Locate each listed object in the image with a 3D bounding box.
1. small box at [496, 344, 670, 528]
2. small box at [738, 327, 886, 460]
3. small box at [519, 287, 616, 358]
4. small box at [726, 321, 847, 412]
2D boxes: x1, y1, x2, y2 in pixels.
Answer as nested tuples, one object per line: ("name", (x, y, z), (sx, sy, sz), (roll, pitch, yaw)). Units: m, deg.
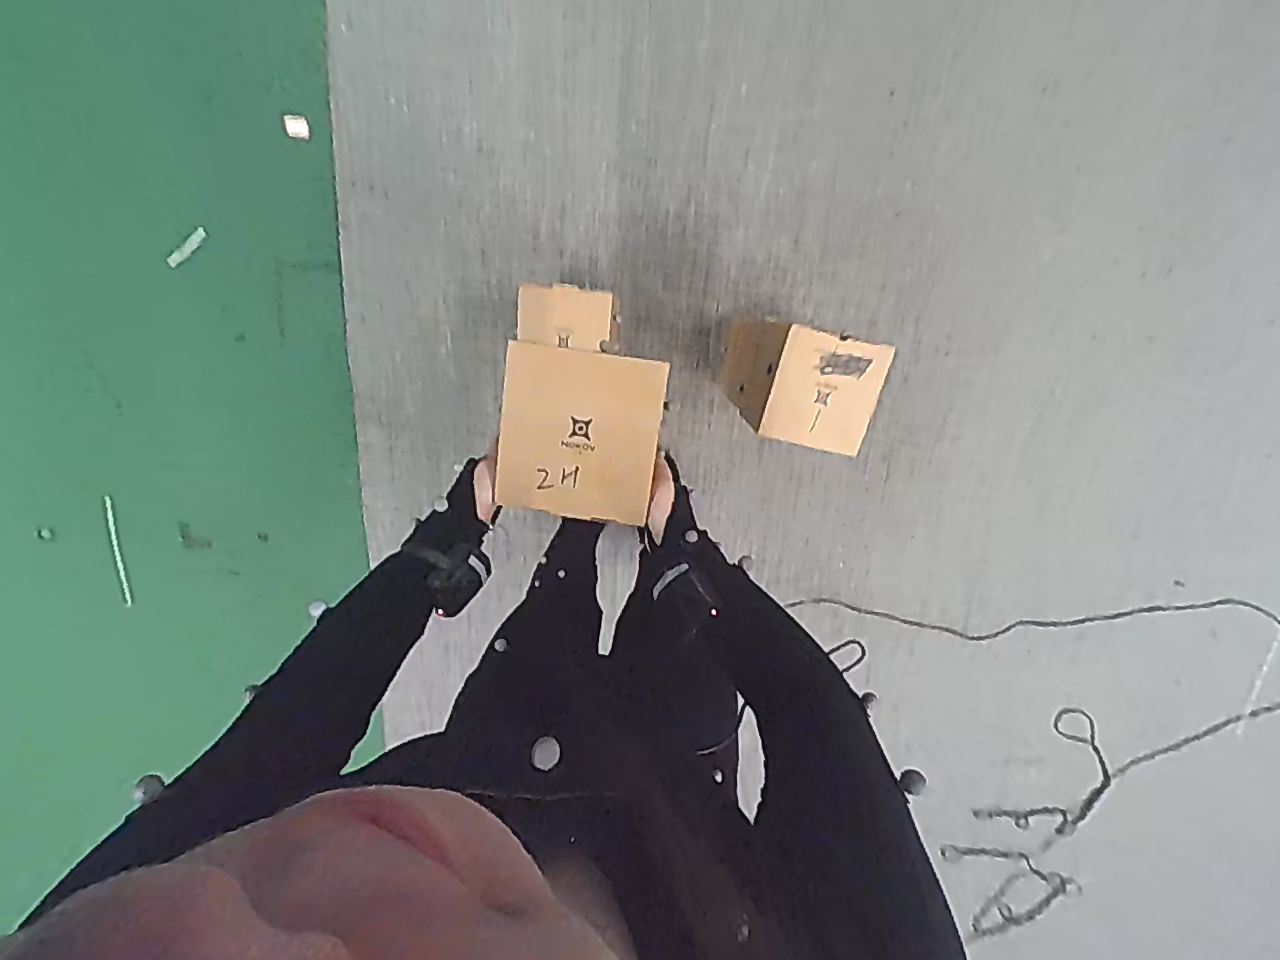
("small box", (-0.060, -0.060, 0.646), (0.168, 0.176, 0.179), (9, 103, 1))
("small box", (0.276, -0.155, 0.916), (0.168, 0.176, 0.179), (13, 108, -4))
("small box", (-0.137, -0.273, 1.050), (0.168, 0.176, 0.179), (5, 108, 0))
("small box", (0.277, -0.212, 1.071), (0.168, 0.176, 0.179), (11, 108, -4))
